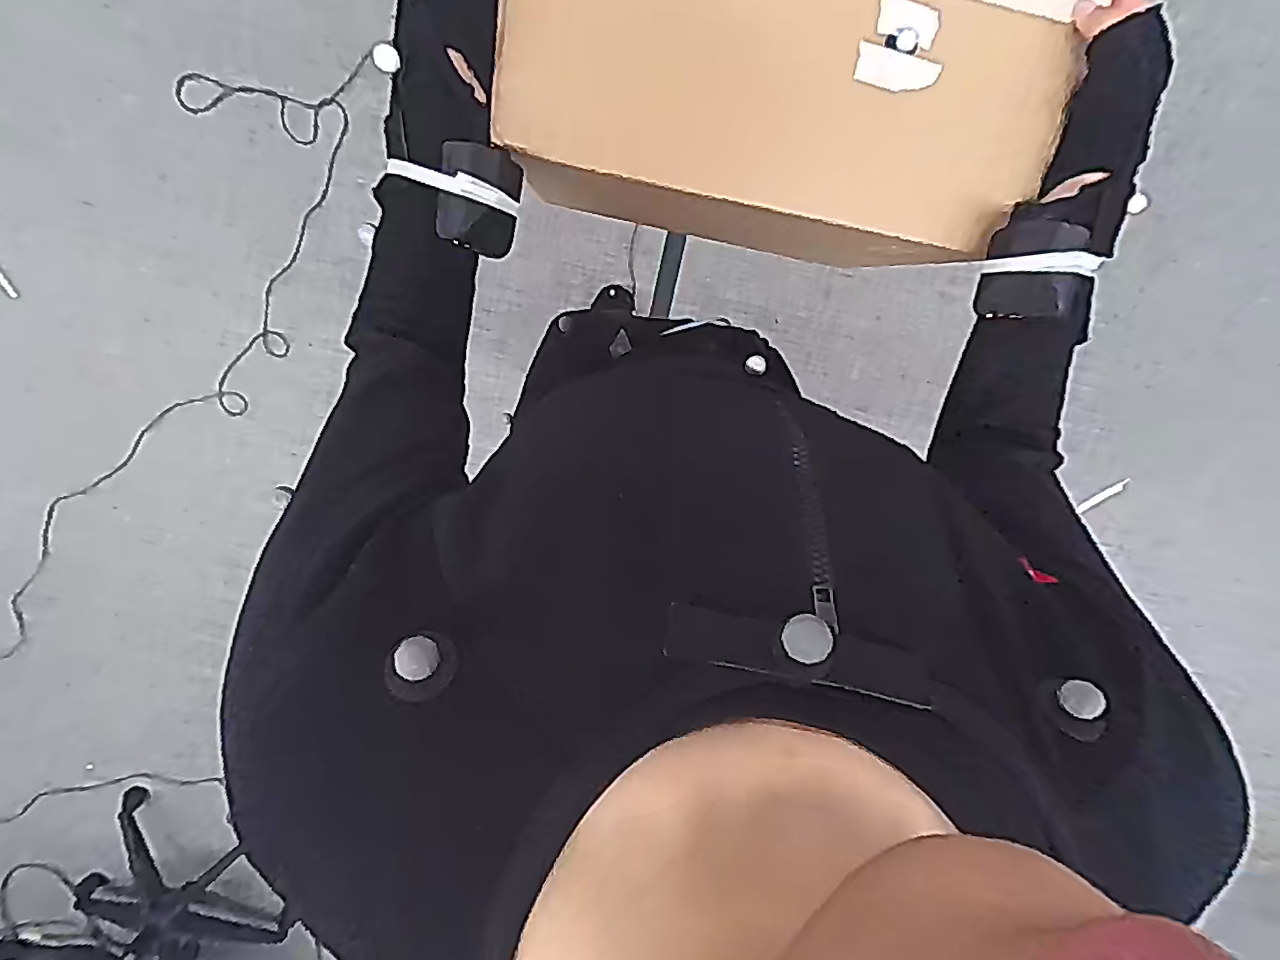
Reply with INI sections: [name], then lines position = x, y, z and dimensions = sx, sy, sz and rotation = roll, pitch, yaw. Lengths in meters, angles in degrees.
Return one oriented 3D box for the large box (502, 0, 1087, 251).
[large box]
position = 0.107, -0.413, 0.497
dimensions = 0.408, 0.320, 0.320
rotation = 8, 111, -7
